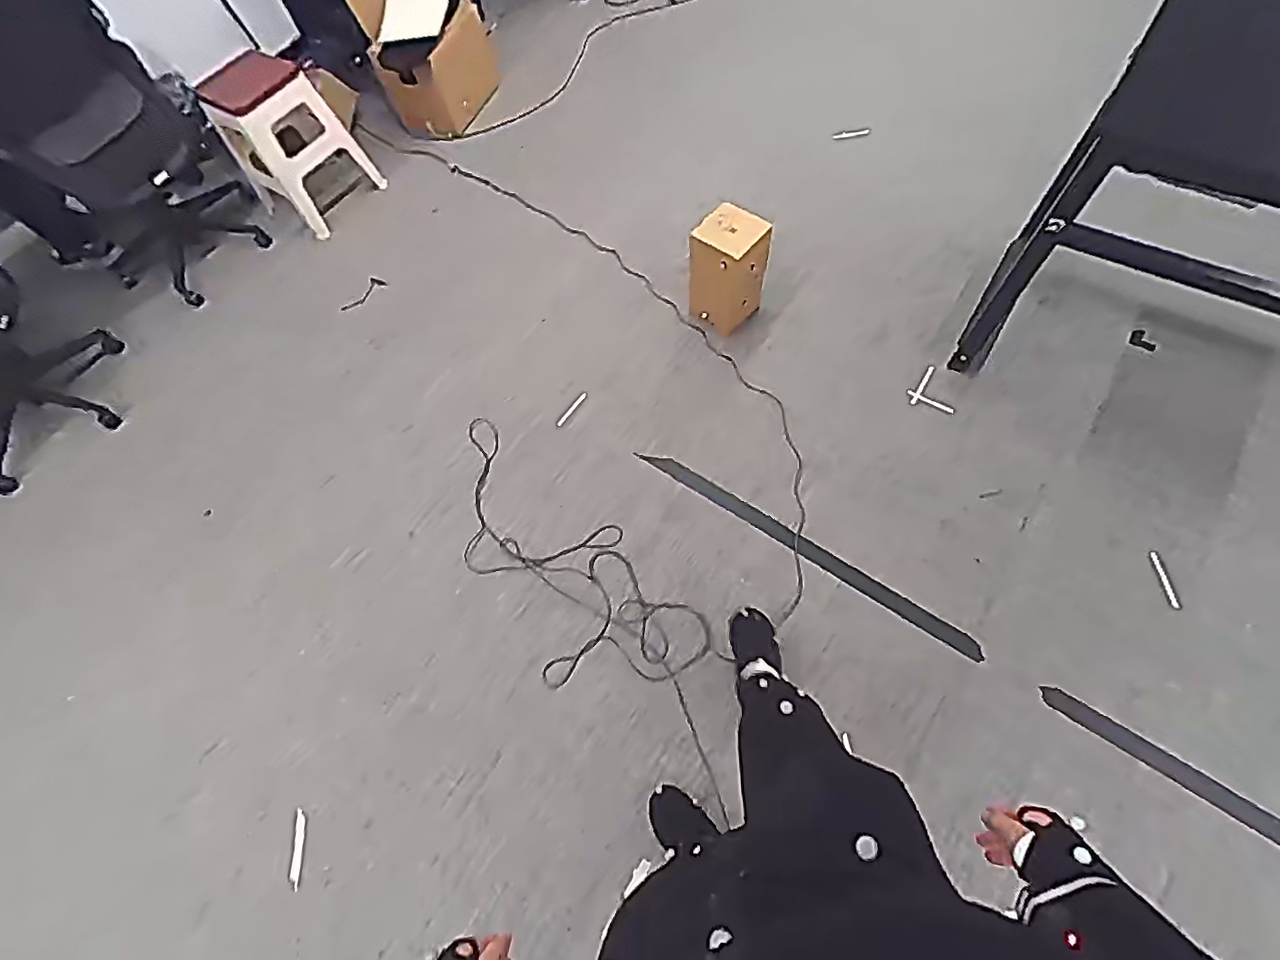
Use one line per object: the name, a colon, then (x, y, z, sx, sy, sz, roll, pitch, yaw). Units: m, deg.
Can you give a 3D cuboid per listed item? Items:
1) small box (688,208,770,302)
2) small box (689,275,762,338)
small box: (0.262, -0.664, 1.613, 0.179, 0.176, 0.168, 36, 72, 21)
small box: (0.273, -0.603, 1.766, 0.168, 0.176, 0.179, 39, 75, 21)
